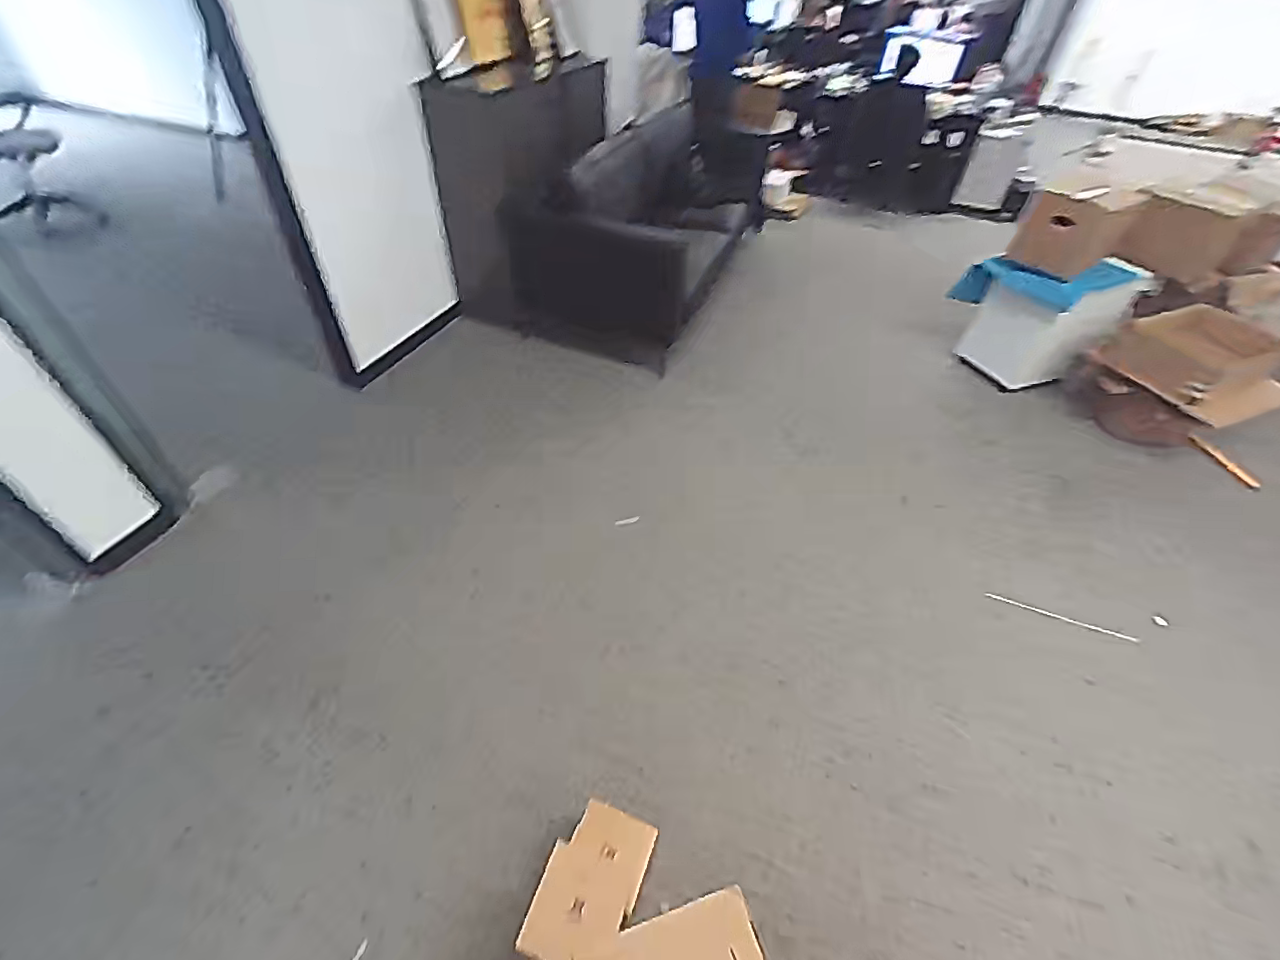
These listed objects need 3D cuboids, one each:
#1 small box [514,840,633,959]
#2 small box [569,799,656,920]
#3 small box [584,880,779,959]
[{"bbox_3d":[-0.121,0.842,1.039,0.168,0.176,0.179,17,43,12],"label":"small box"},{"bbox_3d":[-0.075,0.876,1.243,0.179,0.176,0.168,17,46,13],"label":"small box"},{"bbox_3d":[0.046,0.529,0.528,0.179,0.176,0.168,-10,45,-14],"label":"small box"}]
